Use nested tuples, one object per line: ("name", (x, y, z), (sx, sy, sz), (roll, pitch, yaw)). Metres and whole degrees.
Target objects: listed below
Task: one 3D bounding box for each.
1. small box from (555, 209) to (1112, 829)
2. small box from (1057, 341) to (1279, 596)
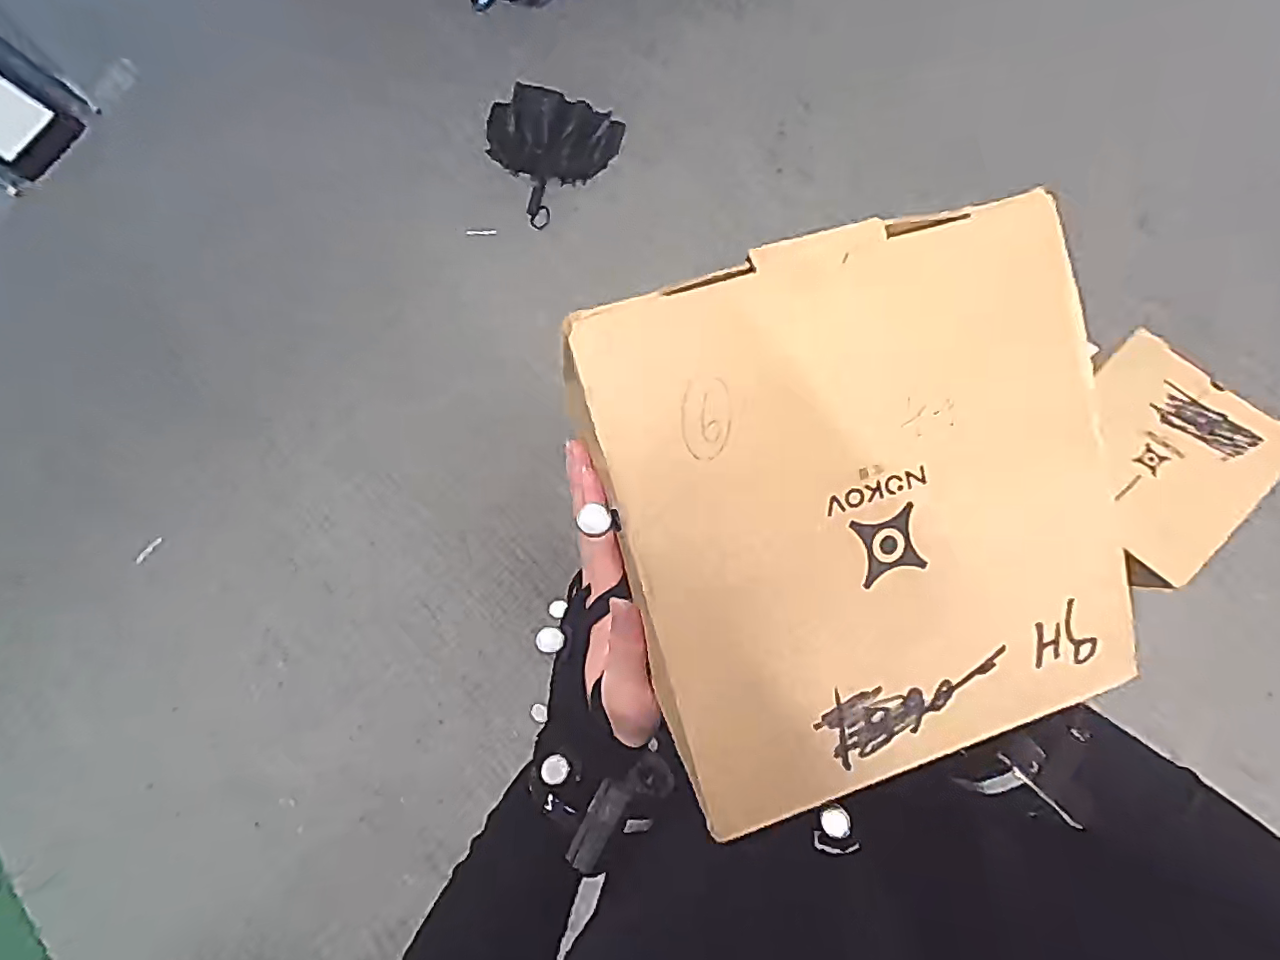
("small box", (0.061, 0.008, 0.260), (0.168, 0.176, 0.179), (-17, 96, -5))
("small box", (0.469, -0.002, 0.560), (0.168, 0.176, 0.179), (43, 89, 12))
